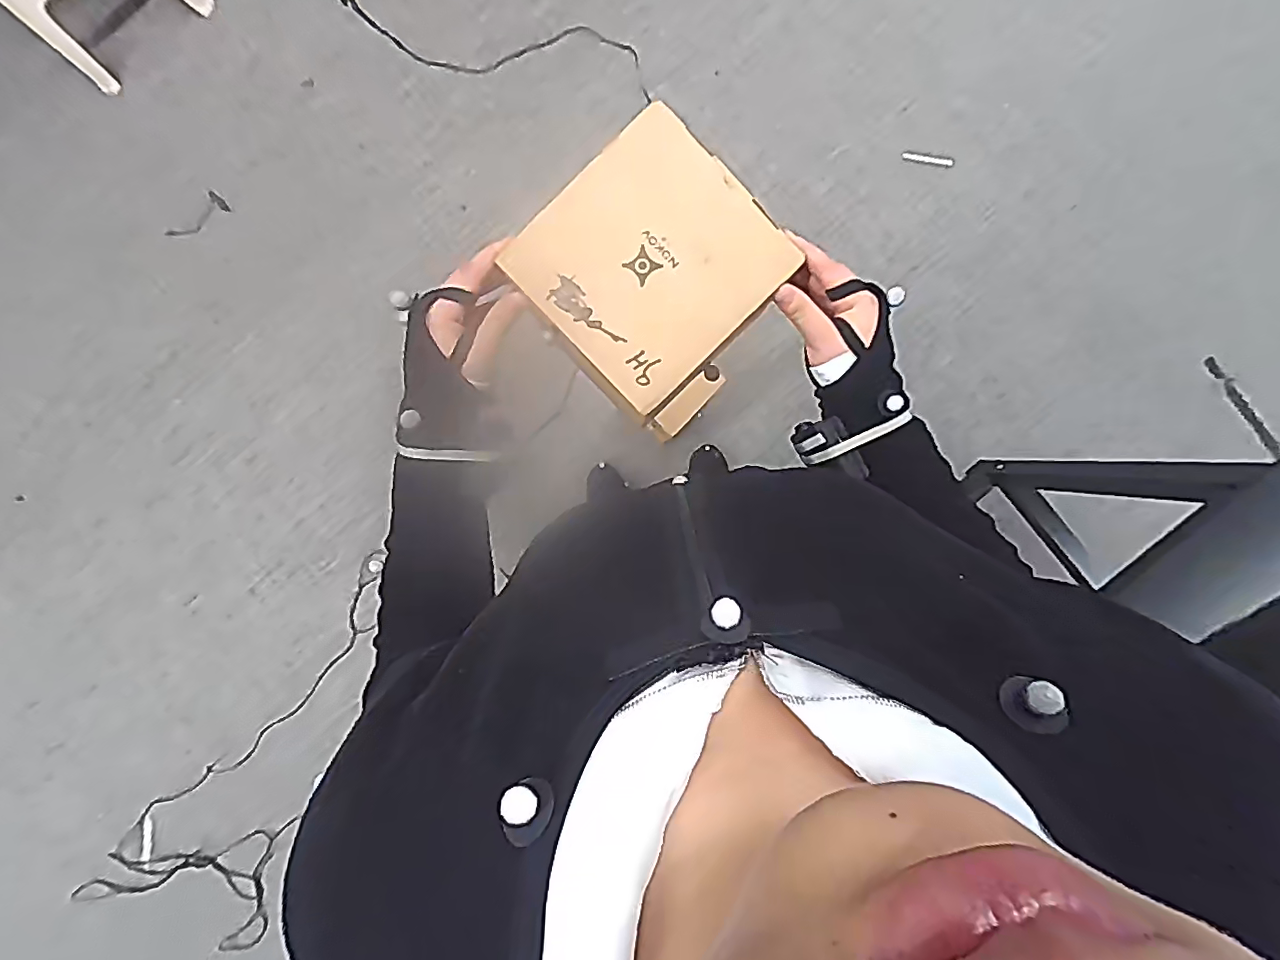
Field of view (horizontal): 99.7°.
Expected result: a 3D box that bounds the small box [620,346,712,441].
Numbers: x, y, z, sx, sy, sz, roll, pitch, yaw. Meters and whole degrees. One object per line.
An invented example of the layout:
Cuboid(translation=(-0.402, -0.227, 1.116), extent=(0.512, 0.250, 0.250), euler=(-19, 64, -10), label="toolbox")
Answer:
Cuboid(translation=(0.062, -0.220, 1.419), extent=(0.179, 0.176, 0.168), euler=(-44, 91, 2), label="small box")
